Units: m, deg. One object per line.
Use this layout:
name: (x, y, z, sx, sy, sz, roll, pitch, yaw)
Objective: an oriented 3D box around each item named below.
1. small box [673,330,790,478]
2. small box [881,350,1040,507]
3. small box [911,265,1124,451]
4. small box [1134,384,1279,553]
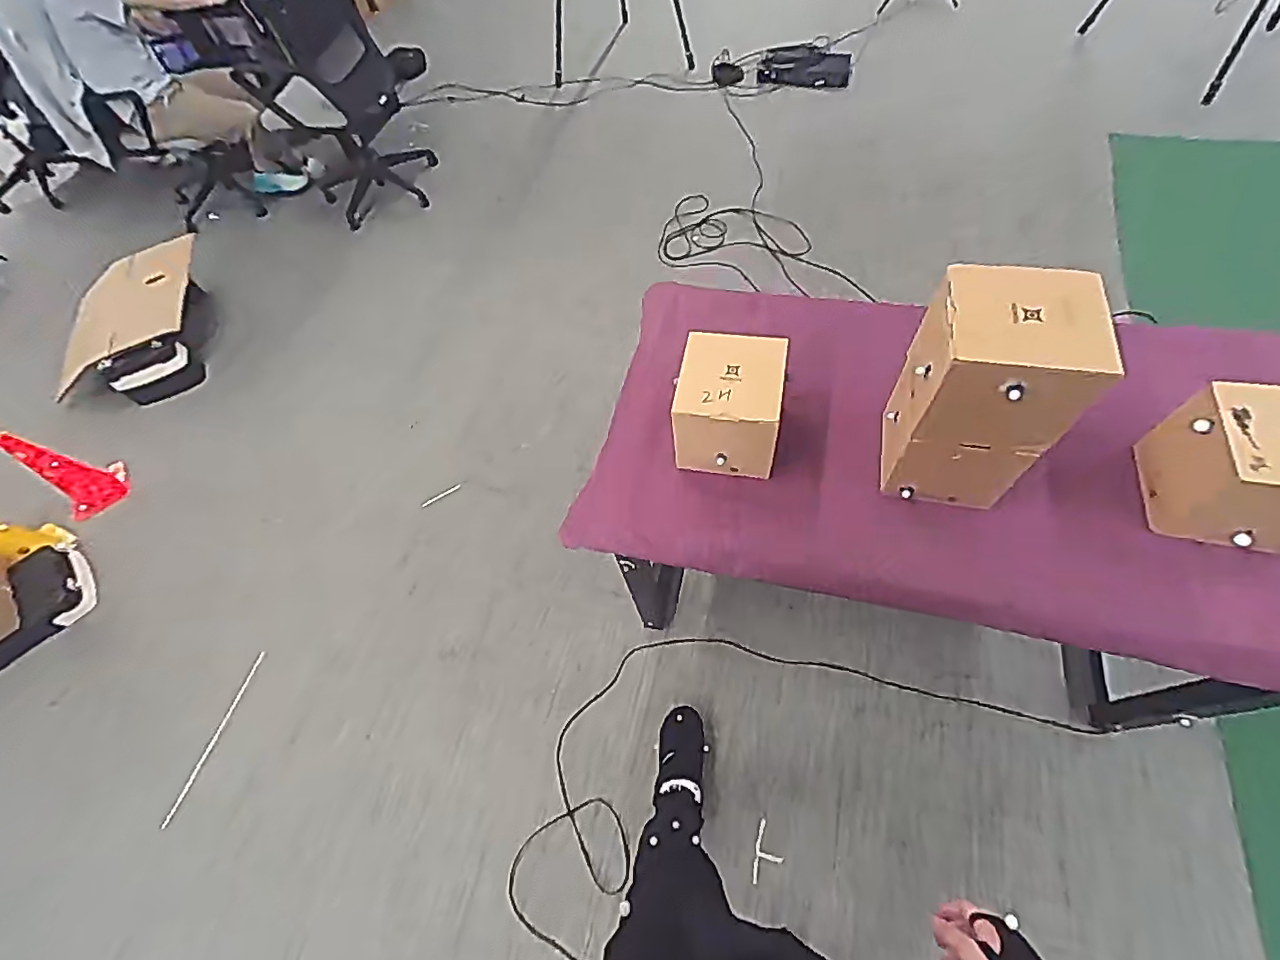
small box: (0.155, -0.127, 0.922, 0.168, 0.176, 0.179, 8, 62, 12)
small box: (0.491, -0.076, 0.853, 0.168, 0.176, 0.179, 9, 61, 12)
small box: (0.472, -0.154, 0.711, 0.179, 0.176, 0.168, 10, 63, 12)
small box: (0.866, -0.010, 0.768, 0.179, 0.176, 0.168, 10, 61, 13)
